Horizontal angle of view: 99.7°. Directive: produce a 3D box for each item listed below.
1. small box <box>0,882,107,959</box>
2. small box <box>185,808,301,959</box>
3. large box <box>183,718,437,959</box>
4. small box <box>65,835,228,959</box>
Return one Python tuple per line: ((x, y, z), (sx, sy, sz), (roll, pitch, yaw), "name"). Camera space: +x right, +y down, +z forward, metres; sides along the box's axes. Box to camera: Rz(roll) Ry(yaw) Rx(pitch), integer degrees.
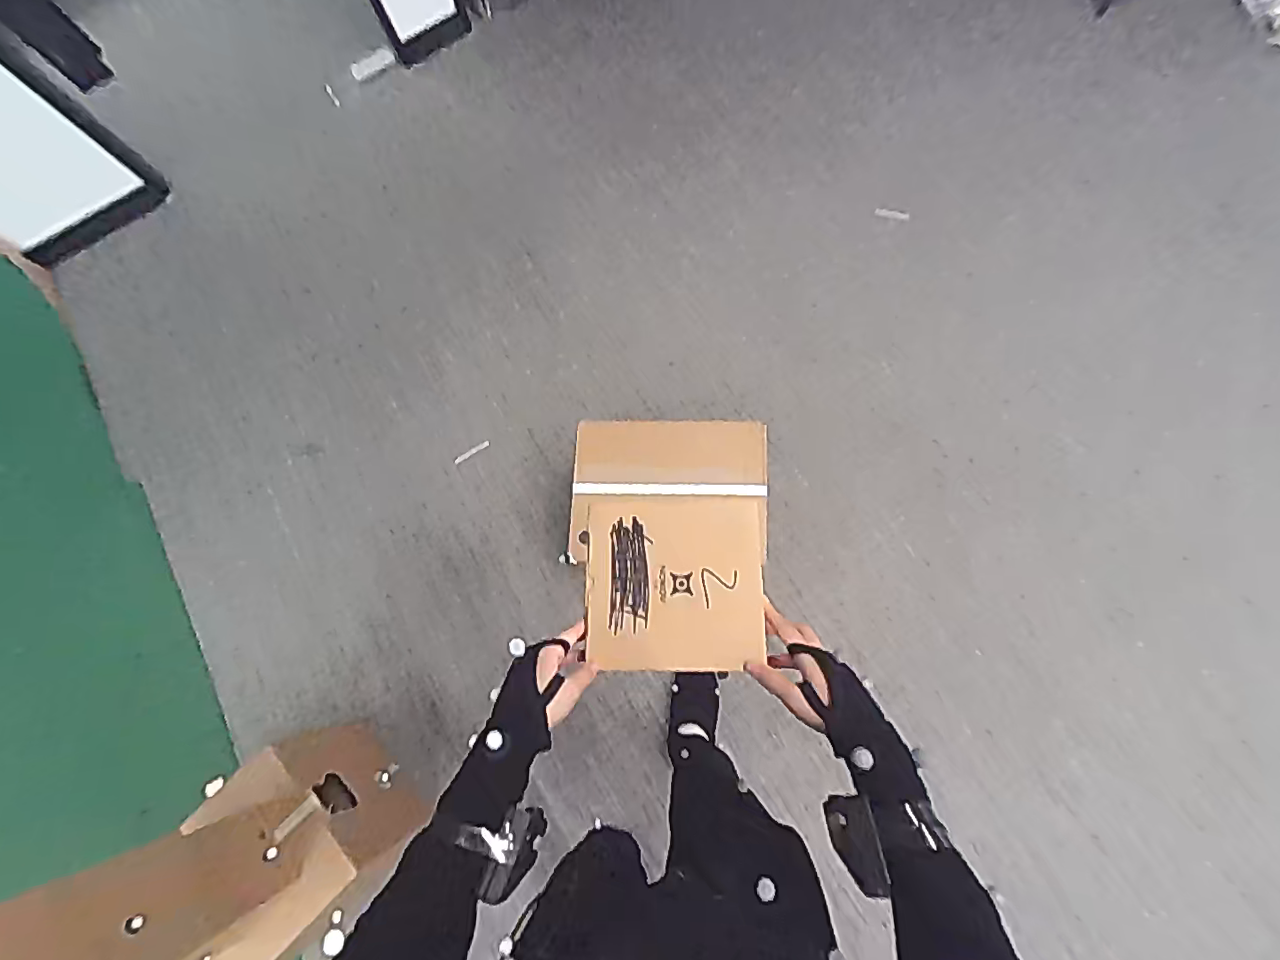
((-0.767, 0.616, 0.611), (0.168, 0.176, 0.179), (-42, 77, -7), "small box")
((-0.737, 0.711, 0.924), (0.179, 0.176, 0.168), (-42, 76, -7), "small box")
((-0.731, 0.795, 1.155), (0.320, 0.320, 0.408), (42, 84, 16), "large box")
((-0.747, 0.658, 0.769), (0.168, 0.176, 0.179), (-40, 76, -6), "small box")
